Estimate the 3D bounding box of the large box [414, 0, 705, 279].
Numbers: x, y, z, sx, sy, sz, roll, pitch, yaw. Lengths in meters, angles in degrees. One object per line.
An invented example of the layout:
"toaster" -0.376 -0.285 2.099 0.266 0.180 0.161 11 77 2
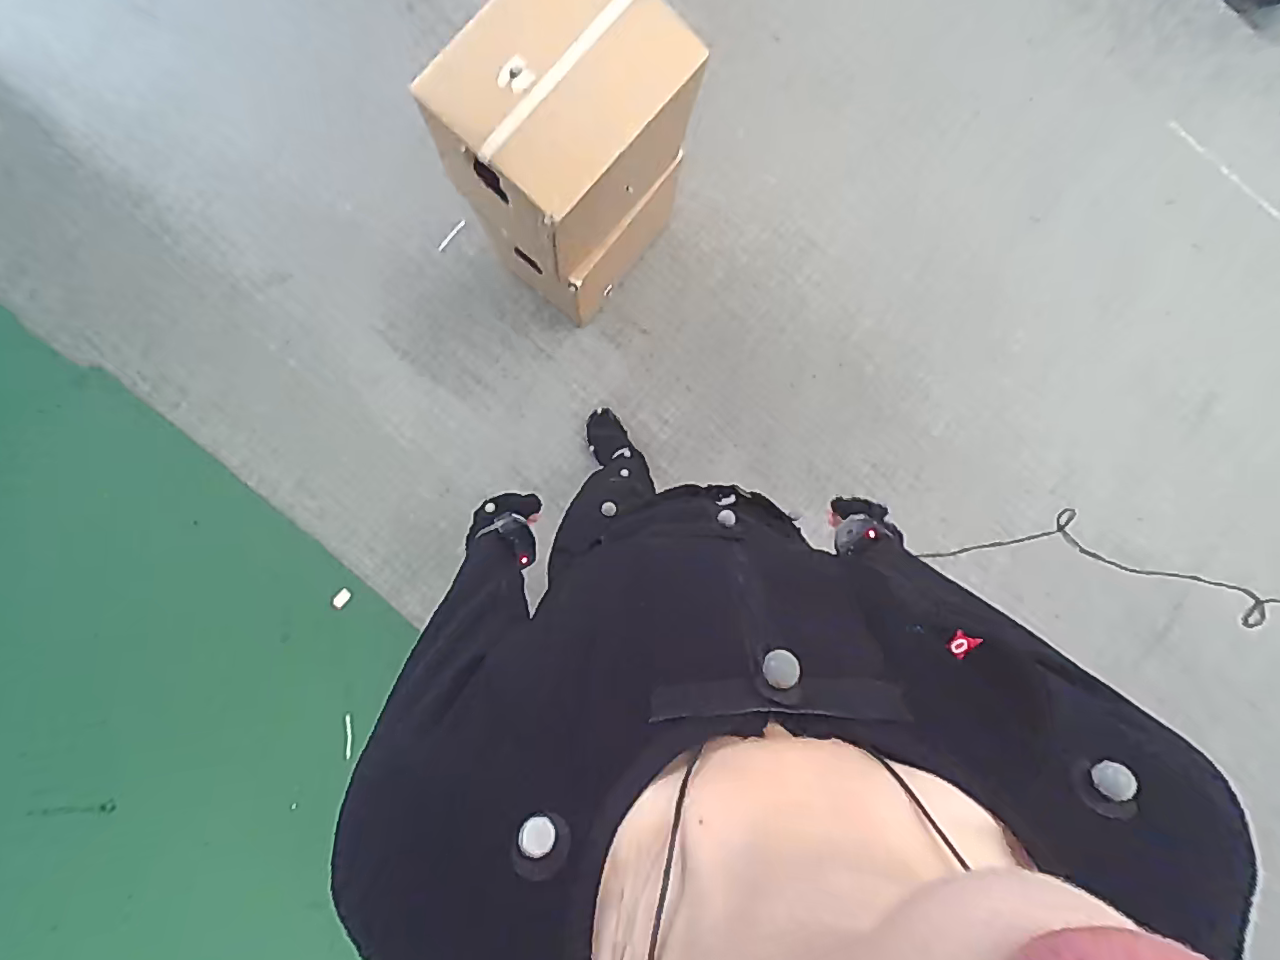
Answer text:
"large box" -0.142 -0.680 1.040 0.320 0.320 0.408 41 88 -6
